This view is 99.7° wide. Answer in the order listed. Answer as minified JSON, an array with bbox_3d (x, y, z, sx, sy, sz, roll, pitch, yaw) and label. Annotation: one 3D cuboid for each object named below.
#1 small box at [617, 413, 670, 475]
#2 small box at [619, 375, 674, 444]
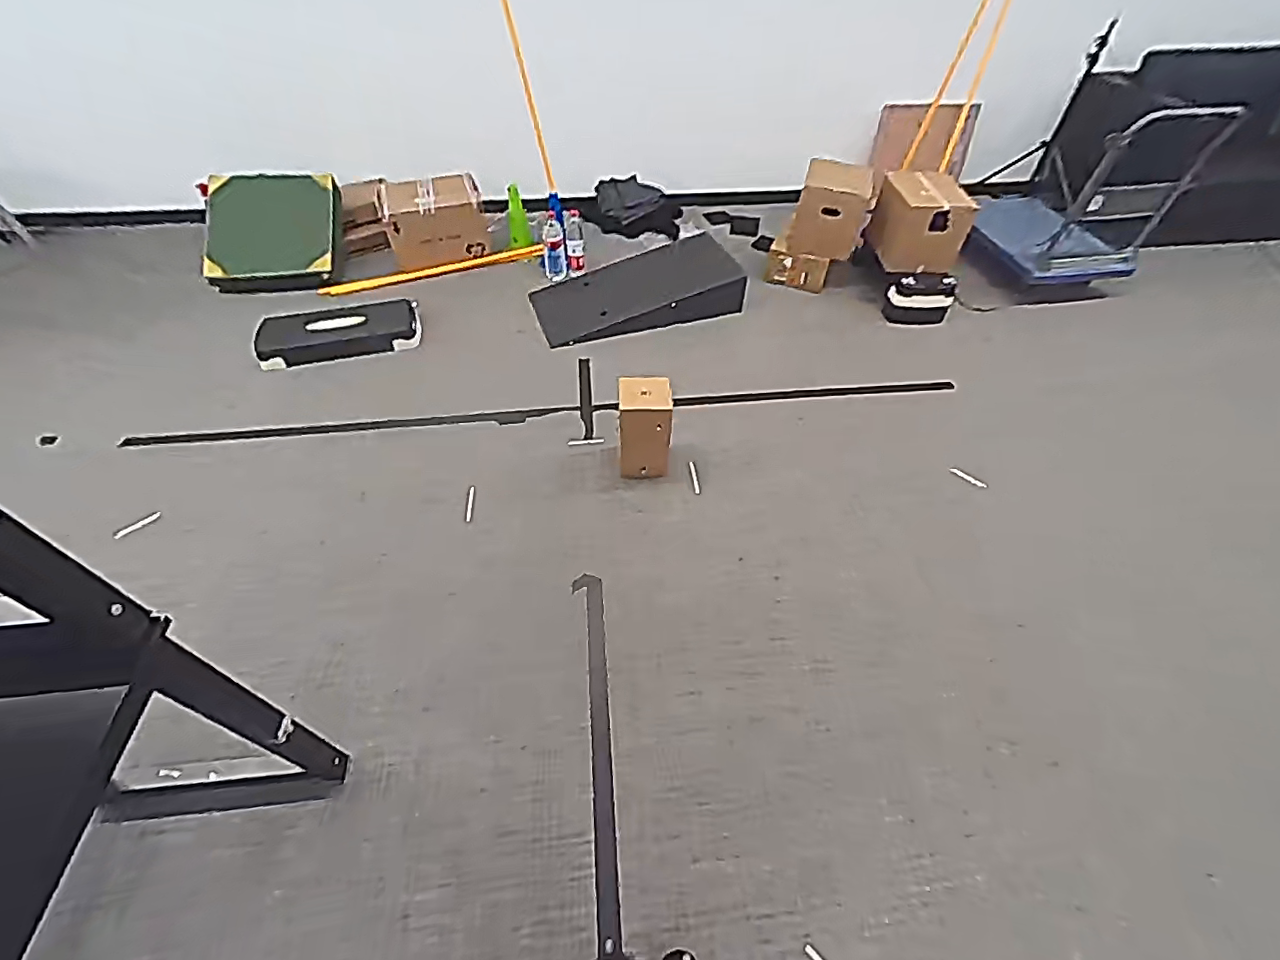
[{"bbox_3d":[0.007,-0.130,1.951,0.179,0.176,0.168,-2,49,-5],"label":"small box"},{"bbox_3d":[0.017,-0.236,1.826,0.179,0.176,0.168,-1,49,-1],"label":"small box"}]
